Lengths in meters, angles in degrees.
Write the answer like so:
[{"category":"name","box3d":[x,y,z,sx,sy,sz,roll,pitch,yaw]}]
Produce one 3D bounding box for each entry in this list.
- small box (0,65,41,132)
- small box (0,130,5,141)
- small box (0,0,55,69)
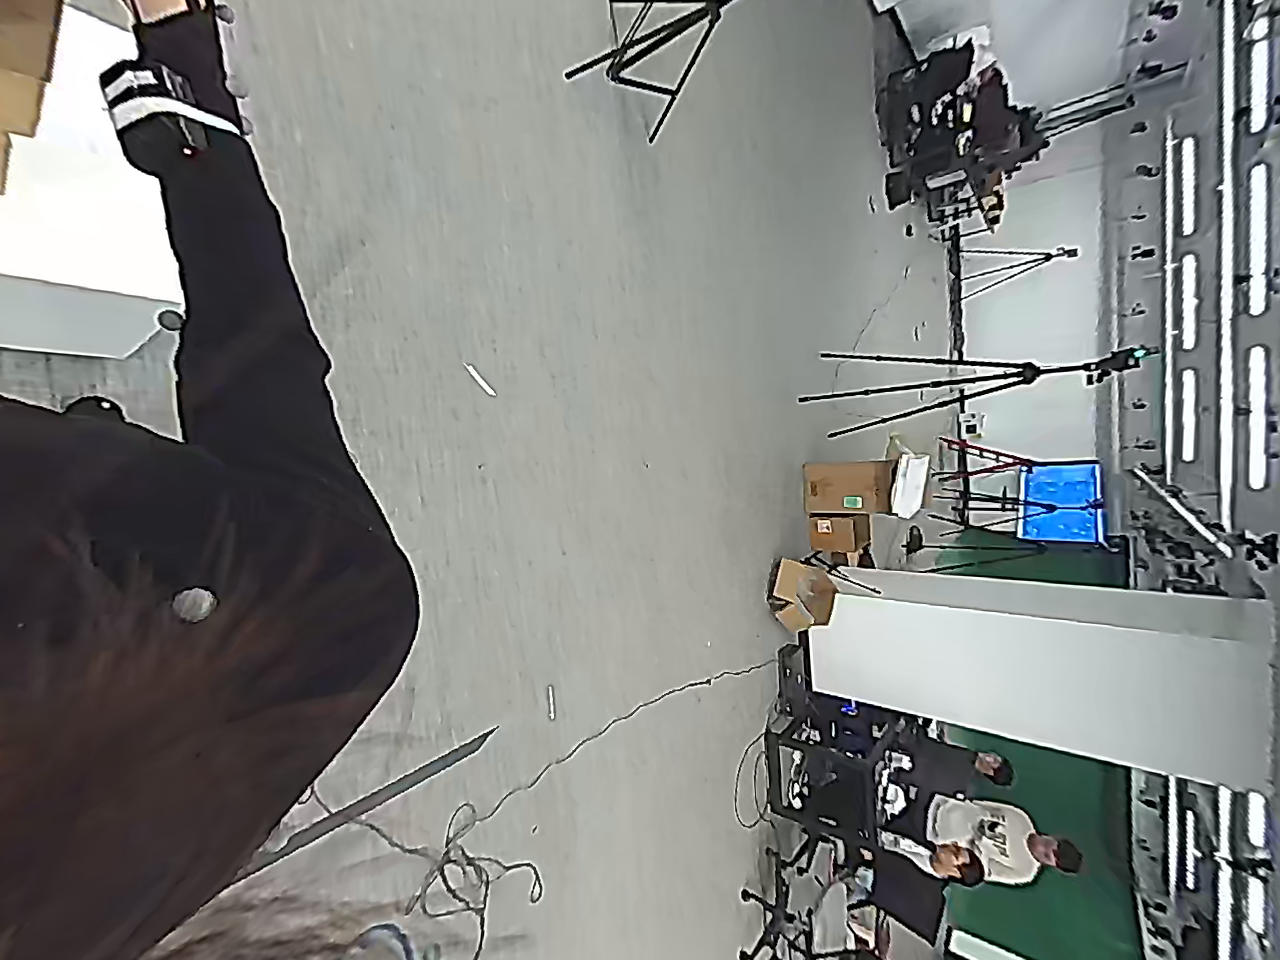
[{"category":"small box","box3d":[-0.699,-0.466,0.502,0.168,0.176,0.179,-15,100,-51]},{"category":"small box","box3d":[-0.840,-0.443,0.583,0.179,0.176,0.168,-17,102,-51]},{"category":"small box","box3d":[-0.570,-0.456,0.399,0.179,0.176,0.168,-11,97,-52]}]
